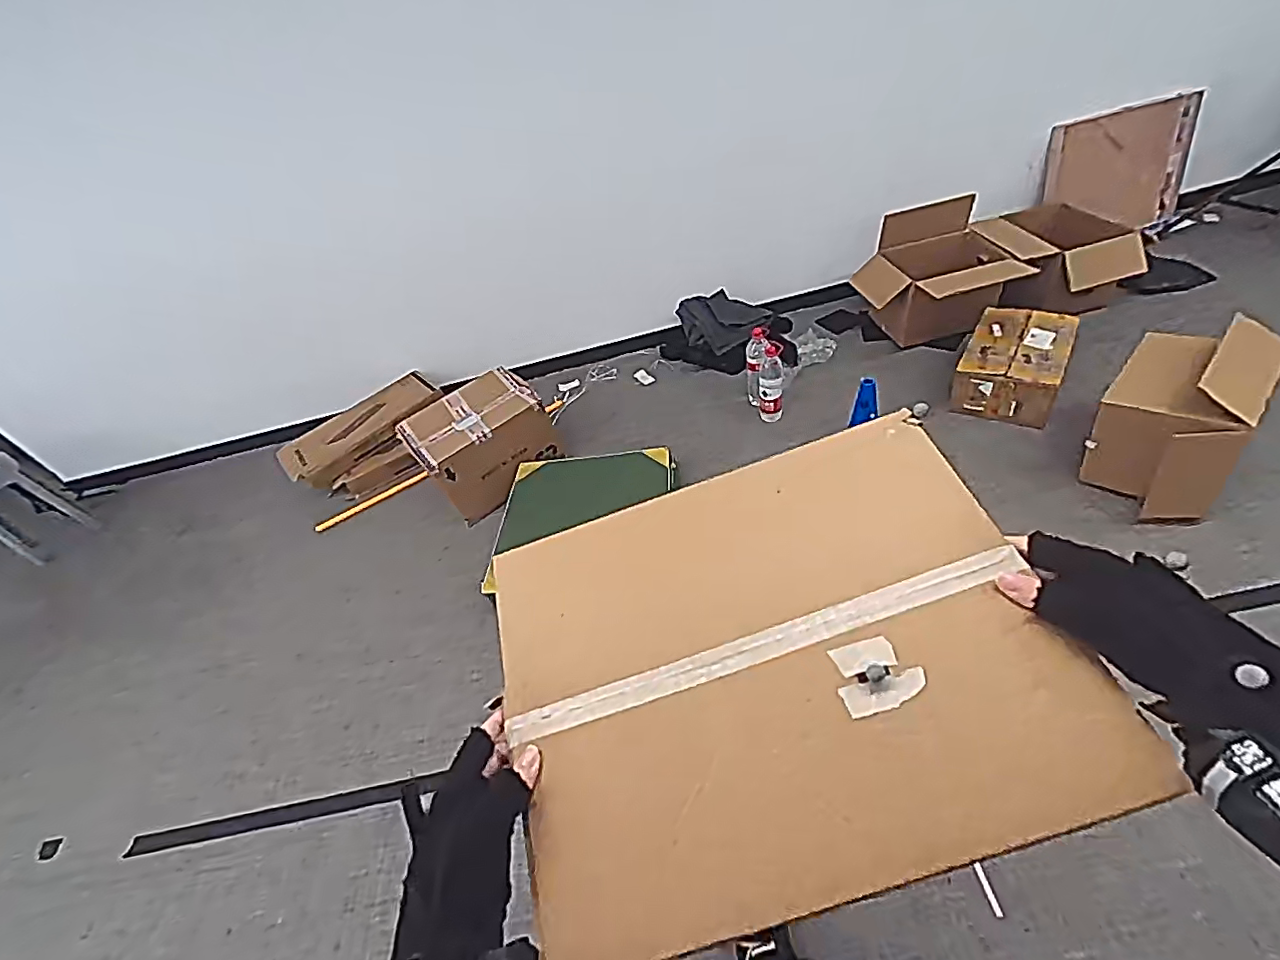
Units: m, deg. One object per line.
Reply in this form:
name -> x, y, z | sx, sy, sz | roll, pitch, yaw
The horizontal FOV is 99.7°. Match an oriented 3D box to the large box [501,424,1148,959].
large box -> 0.124, 0.213, 0.545 | 0.408, 0.320, 0.320 | -20, 56, 2
